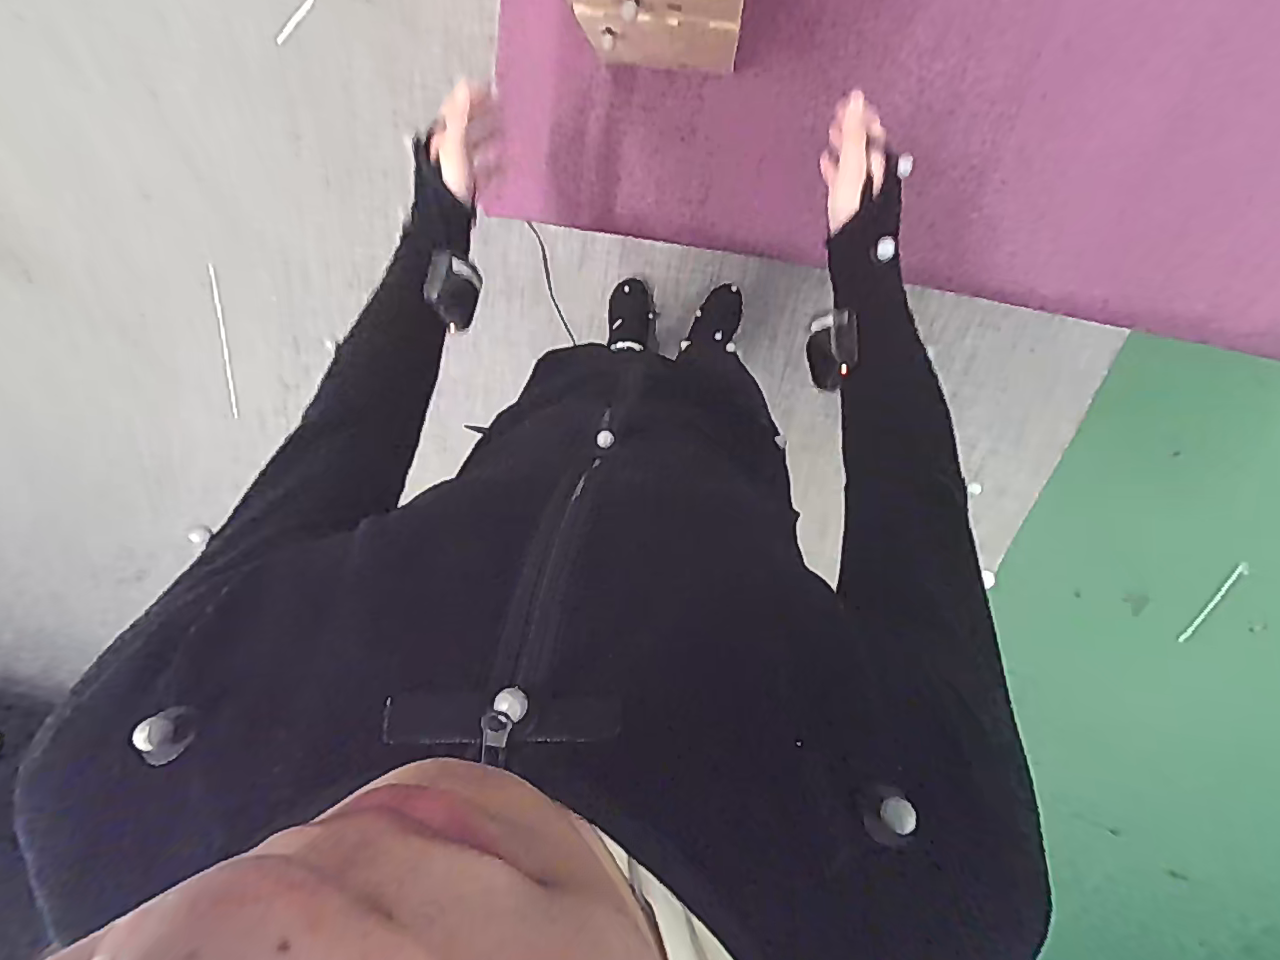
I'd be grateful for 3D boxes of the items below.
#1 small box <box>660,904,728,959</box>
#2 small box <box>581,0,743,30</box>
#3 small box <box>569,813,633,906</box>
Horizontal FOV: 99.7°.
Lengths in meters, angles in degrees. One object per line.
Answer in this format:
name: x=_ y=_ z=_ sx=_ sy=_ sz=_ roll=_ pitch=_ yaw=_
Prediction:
small box: x=0.158 y=1.402 z=1.592 sx=0.168 sy=0.176 sz=0.179 roll=15 pitch=115 yaw=-2
small box: x=0.017 y=-0.495 z=0.419 sx=0.168 sy=0.176 sz=0.179 roll=9 pitch=114 yaw=3
small box: x=-0.118 y=1.188 z=1.702 sx=0.168 sy=0.176 sz=0.179 roll=12 pitch=116 yaw=1
